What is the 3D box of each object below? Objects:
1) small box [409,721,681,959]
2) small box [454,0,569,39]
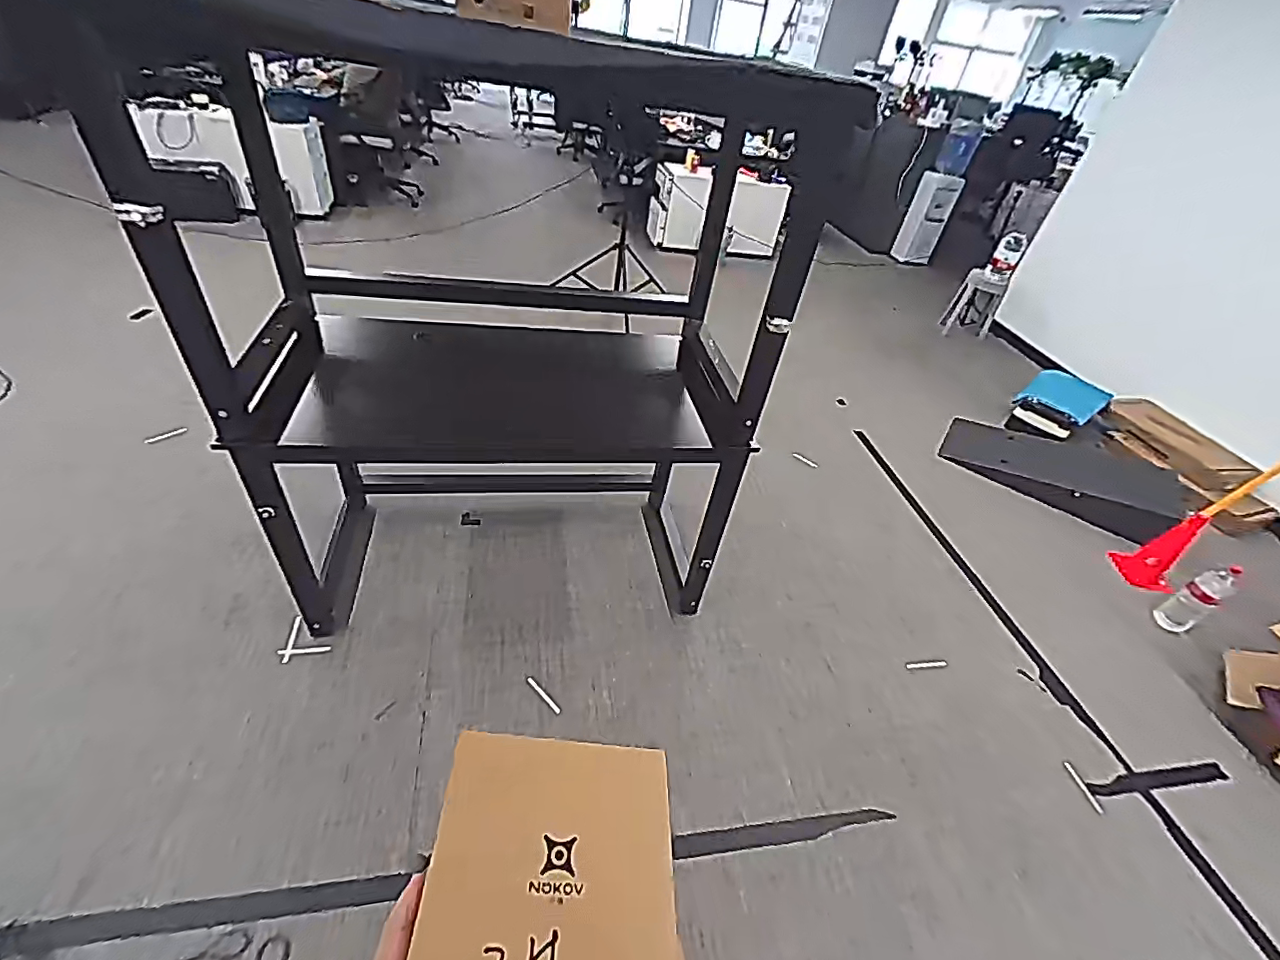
[{"bbox_3d":[-0.075,0.316,0.410,0.168,0.176,0.179,11,37,-10],"label":"small box"},{"bbox_3d":[-0.191,-0.779,0.810,0.168,0.176,0.179,0,39,-13],"label":"small box"}]
